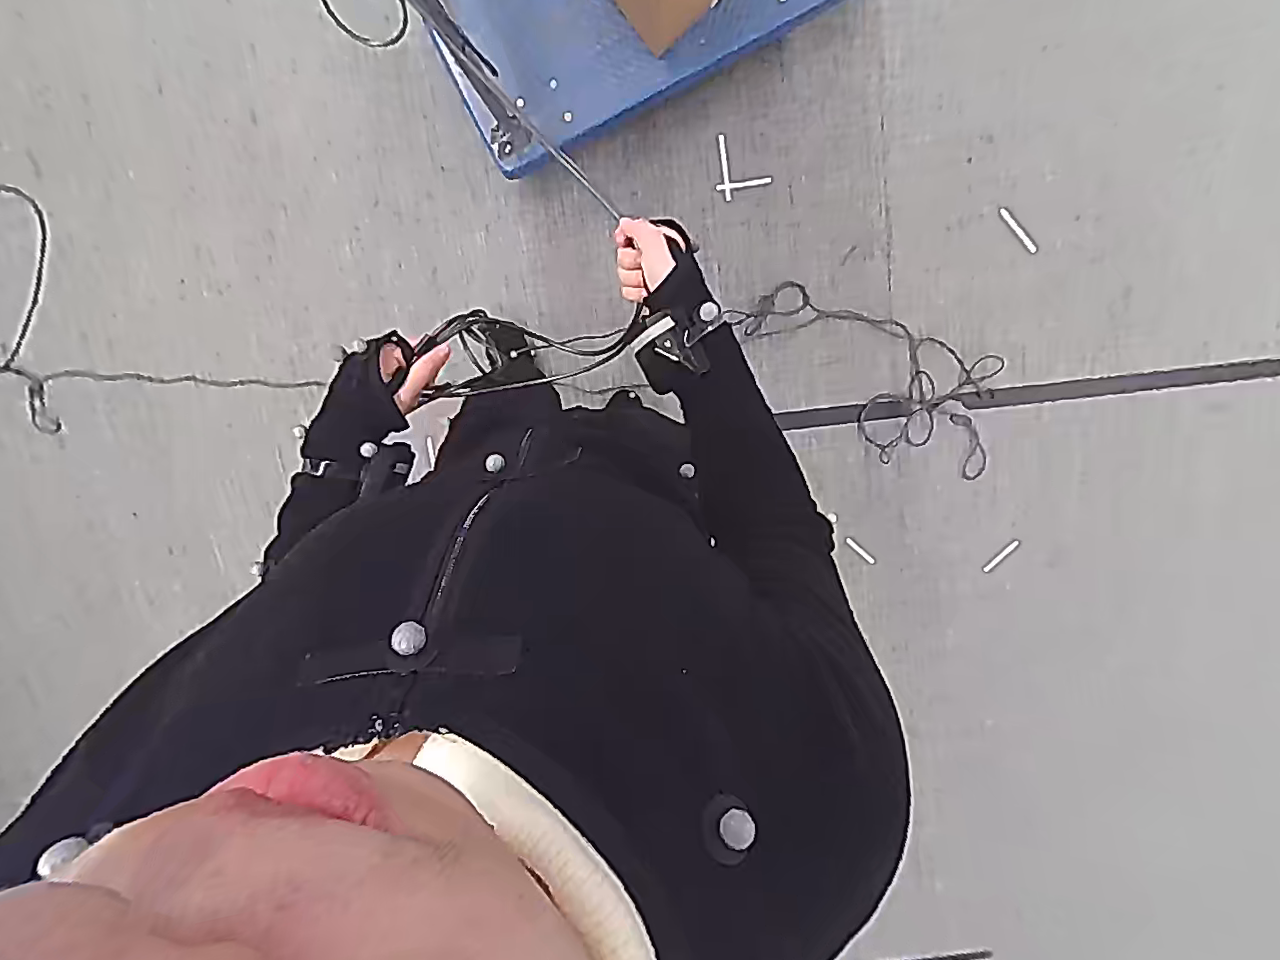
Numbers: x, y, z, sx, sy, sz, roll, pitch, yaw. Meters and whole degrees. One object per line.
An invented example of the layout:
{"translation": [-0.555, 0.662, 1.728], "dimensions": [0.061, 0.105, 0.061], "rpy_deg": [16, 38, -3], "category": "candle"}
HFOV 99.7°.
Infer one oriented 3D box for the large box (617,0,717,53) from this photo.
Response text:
{"translation": [0.024, -1.096, 0.935], "dimensions": [0.320, 0.320, 0.408], "rpy_deg": [-40, 99, 9], "category": "large box"}
